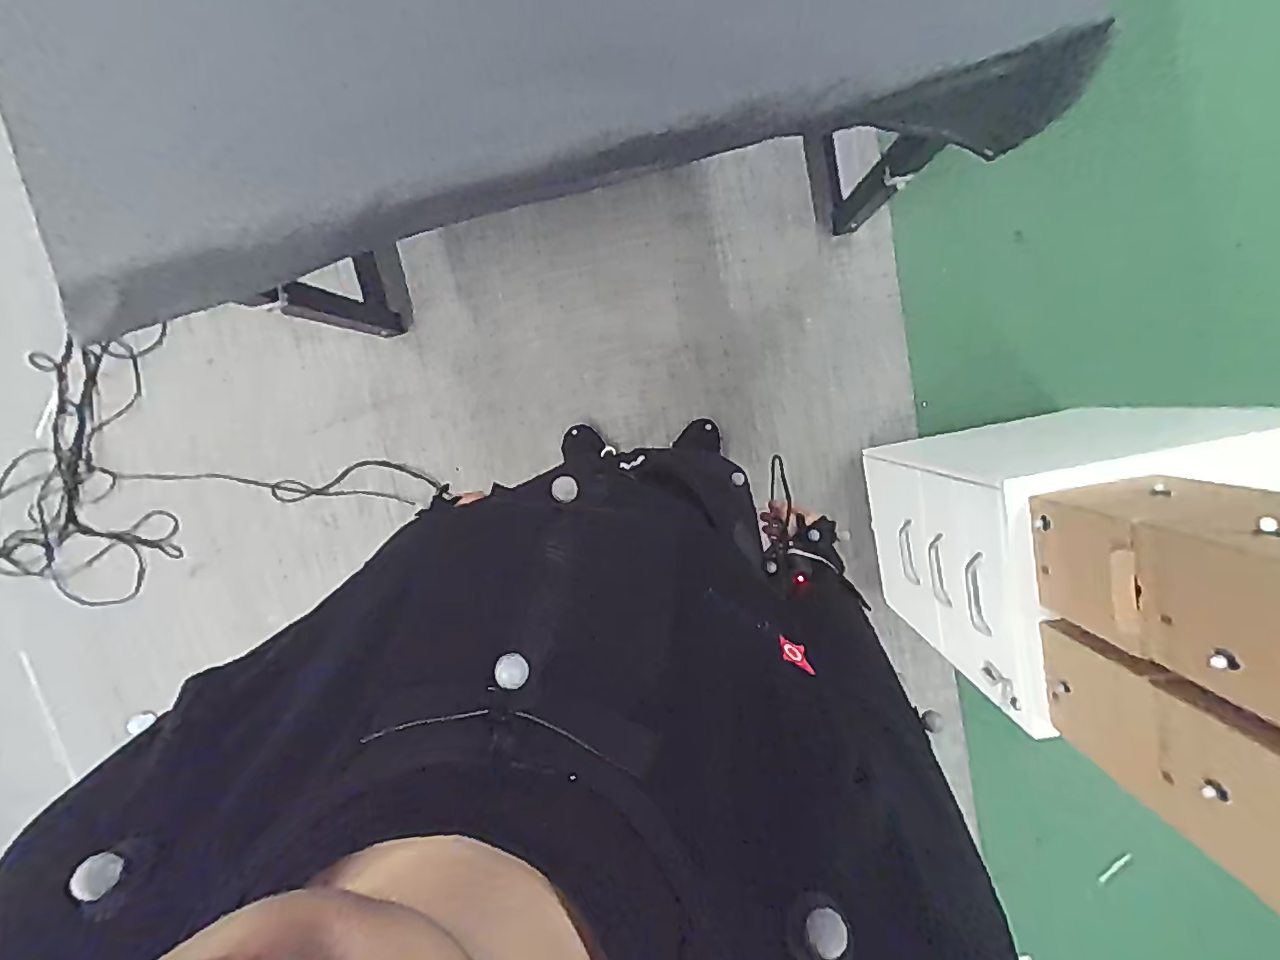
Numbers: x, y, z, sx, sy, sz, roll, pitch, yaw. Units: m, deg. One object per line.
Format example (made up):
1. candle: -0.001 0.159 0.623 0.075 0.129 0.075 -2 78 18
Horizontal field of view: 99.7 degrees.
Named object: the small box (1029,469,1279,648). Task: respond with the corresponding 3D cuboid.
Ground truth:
1. small box: 0.629 0.088 0.683 0.179 0.176 0.168 -11 98 2
